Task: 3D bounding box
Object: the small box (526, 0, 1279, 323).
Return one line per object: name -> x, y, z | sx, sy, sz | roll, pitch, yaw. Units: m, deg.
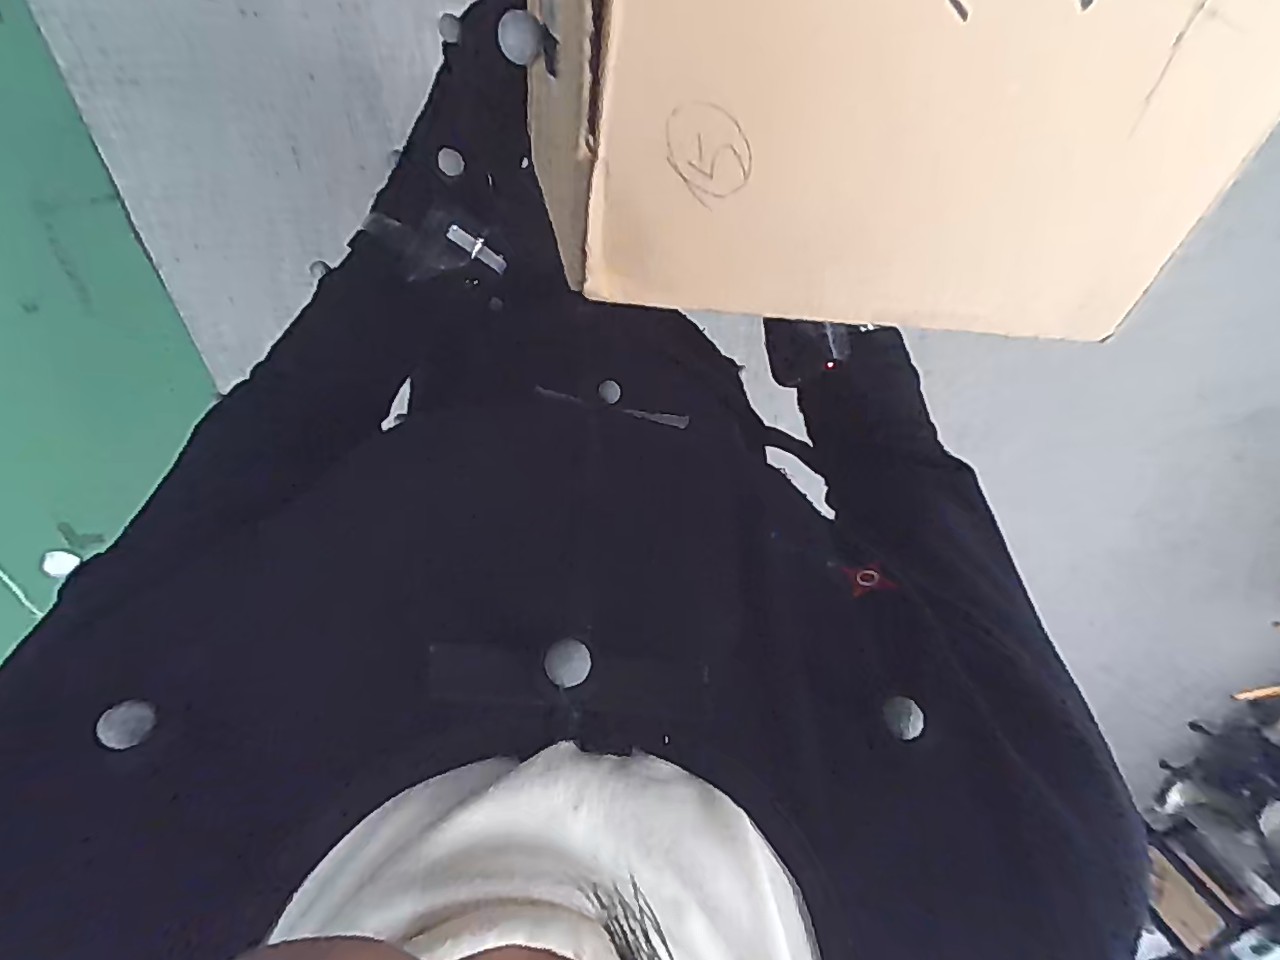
small box -> 0.060, -0.163, 0.157 | 0.179, 0.176, 0.168 | -1, 131, -15
